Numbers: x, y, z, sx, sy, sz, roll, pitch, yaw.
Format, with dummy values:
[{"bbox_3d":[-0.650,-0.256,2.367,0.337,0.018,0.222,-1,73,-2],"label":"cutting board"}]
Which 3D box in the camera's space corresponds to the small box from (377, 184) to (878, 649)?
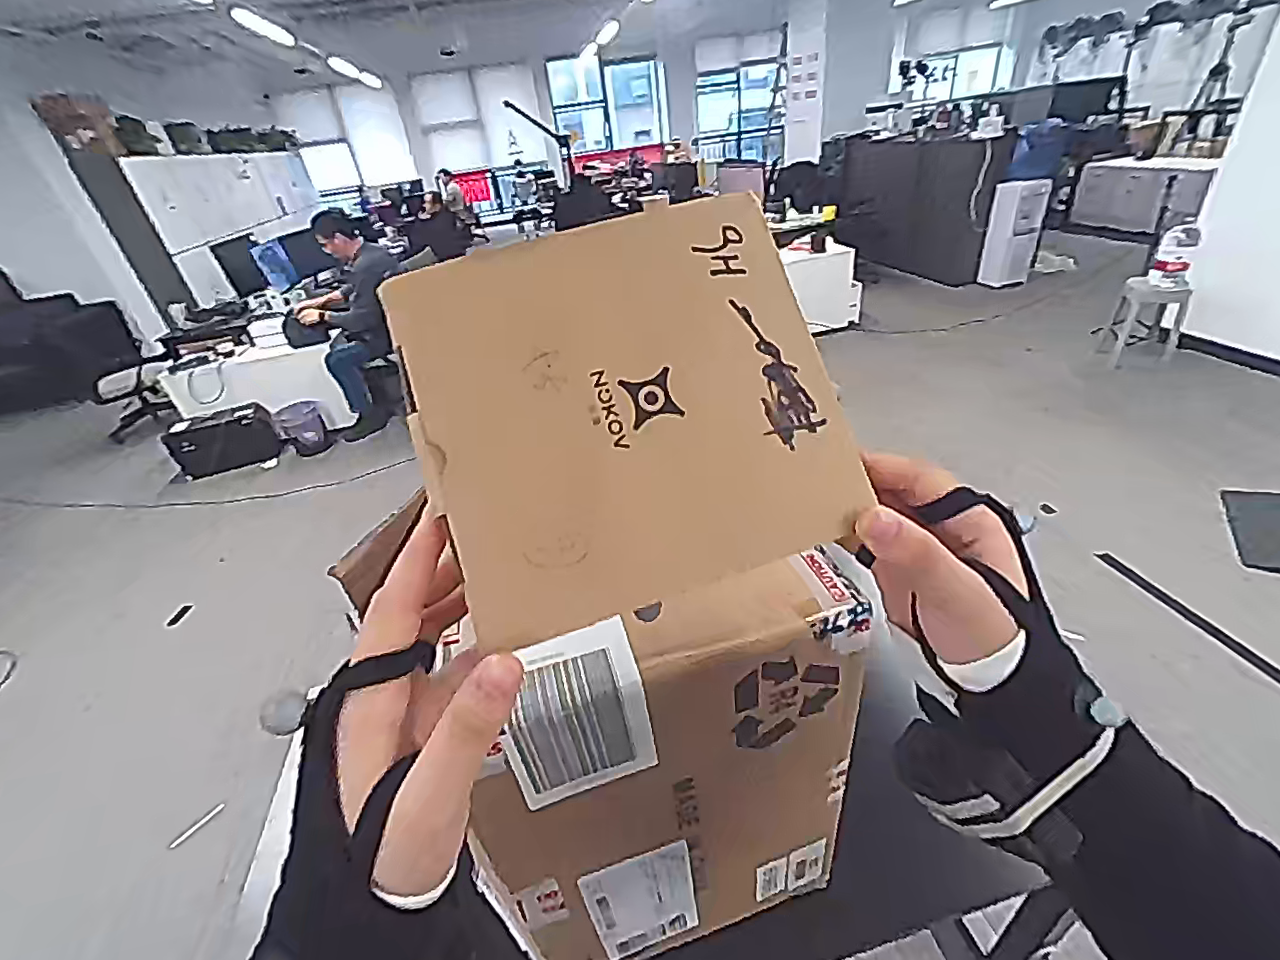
[{"bbox_3d":[-0.010,-0.021,0.304,0.179,0.168,0.176,-17,-7,-6],"label":"small box"}]
